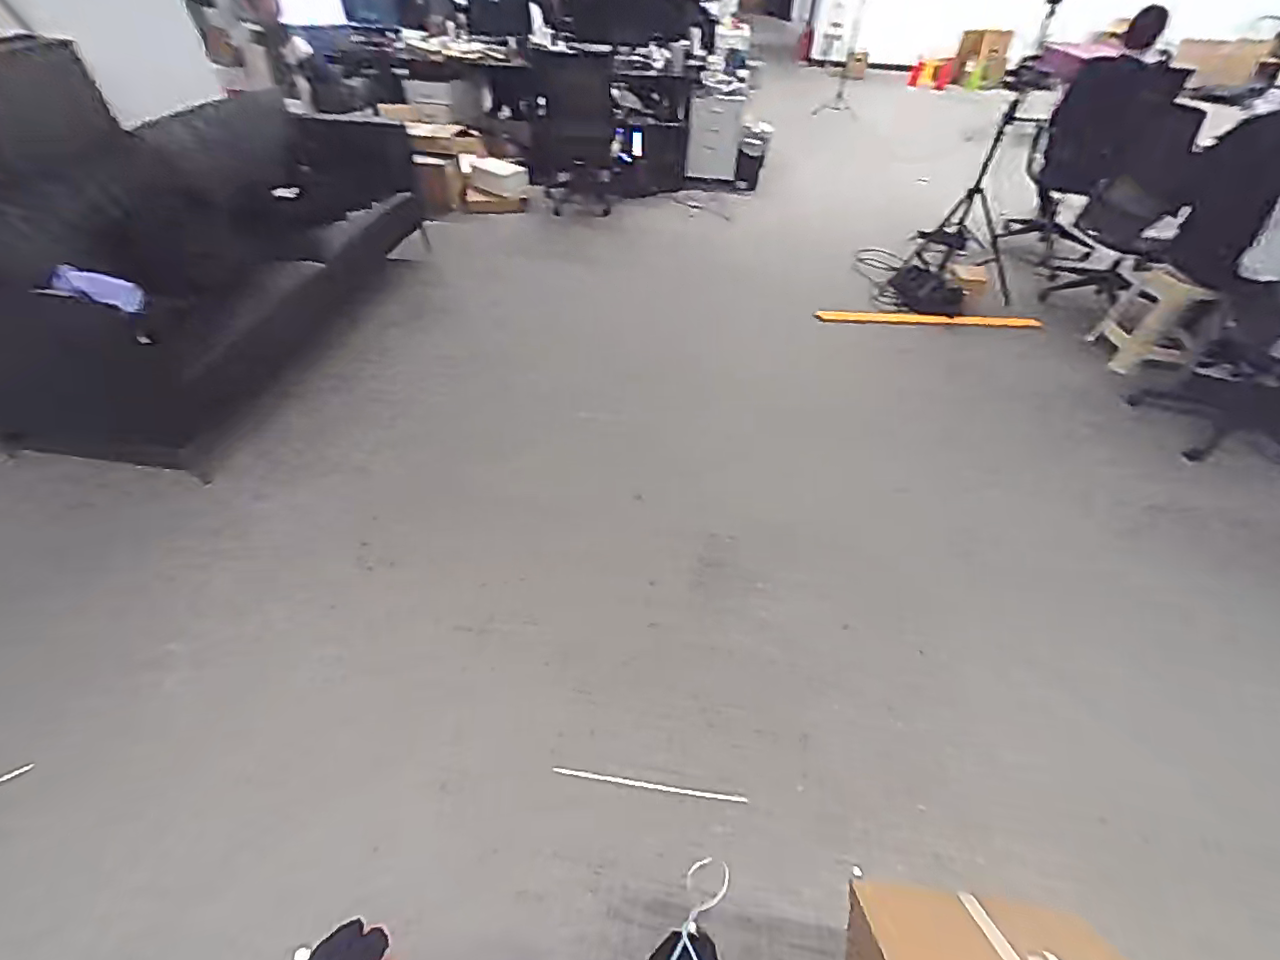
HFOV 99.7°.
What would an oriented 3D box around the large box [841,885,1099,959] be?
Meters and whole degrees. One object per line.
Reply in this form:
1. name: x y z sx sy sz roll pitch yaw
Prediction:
1. large box: 0.429 0.754 0.590 0.320 0.408 0.320 6 87 5
